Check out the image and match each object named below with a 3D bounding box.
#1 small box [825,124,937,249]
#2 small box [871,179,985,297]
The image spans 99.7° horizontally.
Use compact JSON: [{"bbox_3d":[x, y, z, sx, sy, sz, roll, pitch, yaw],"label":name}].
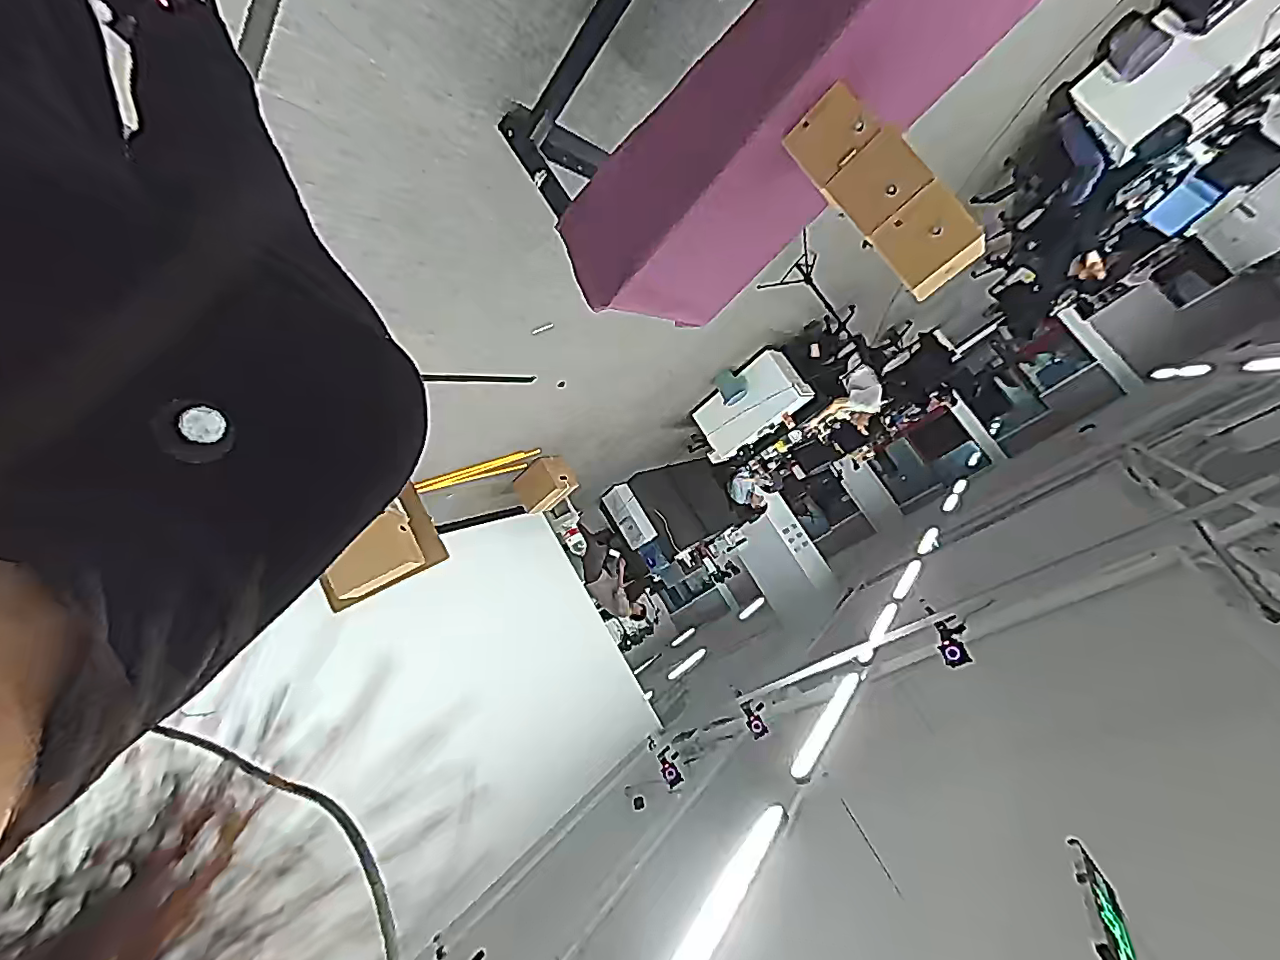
[{"bbox_3d":[0.571,-0.687,1.274,0.179,0.176,0.168,-39,166,30],"label":"small box"},{"bbox_3d":[0.660,-0.554,1.245,0.168,0.176,0.179,-40,167,31],"label":"small box"}]
